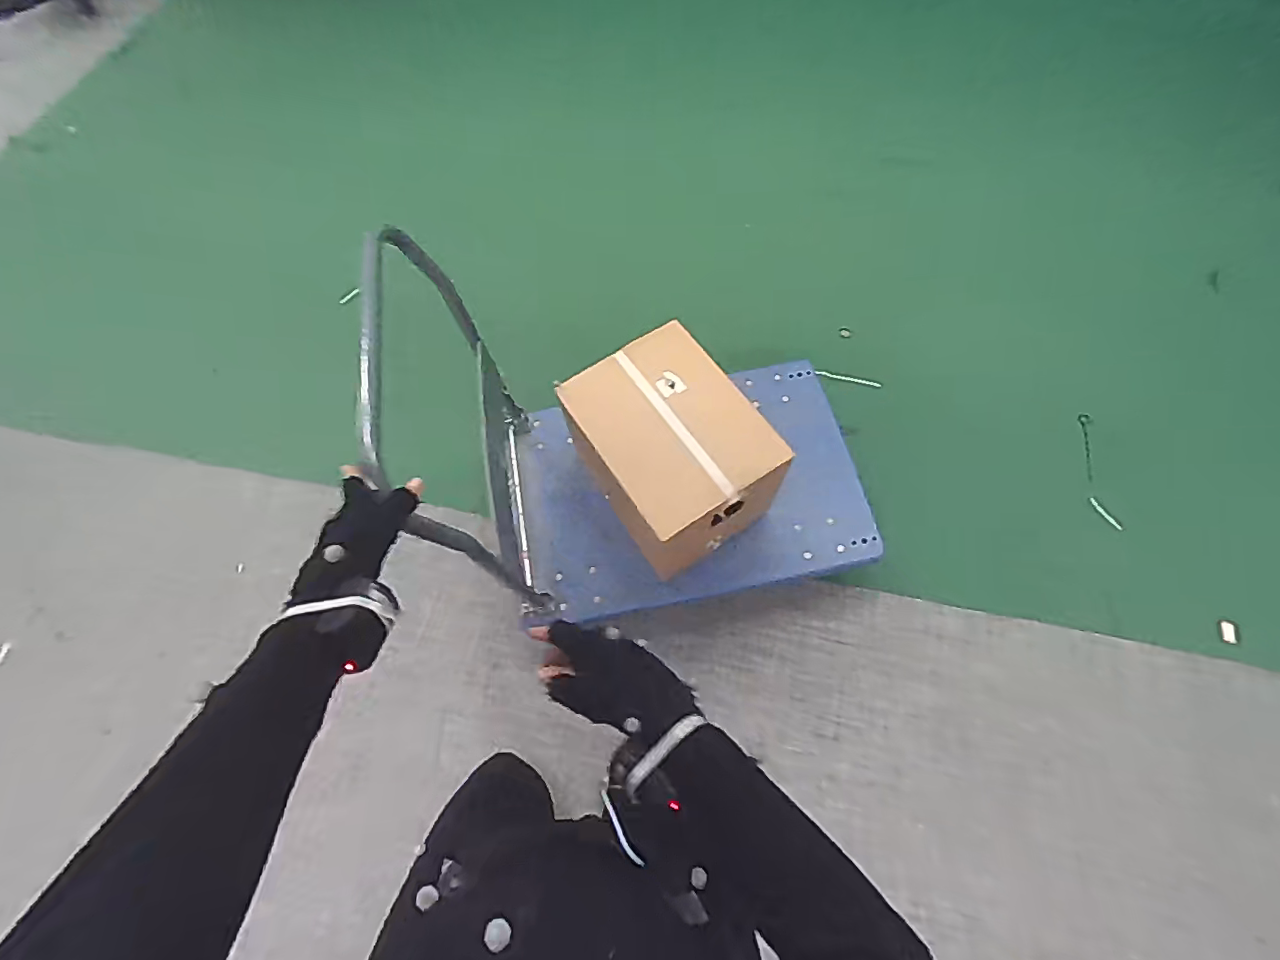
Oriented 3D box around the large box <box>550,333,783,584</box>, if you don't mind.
[{"bbox_3d":[0.054,-0.040,1.222,0.320,0.320,0.408,-32,67,-12],"label":"large box"}]
